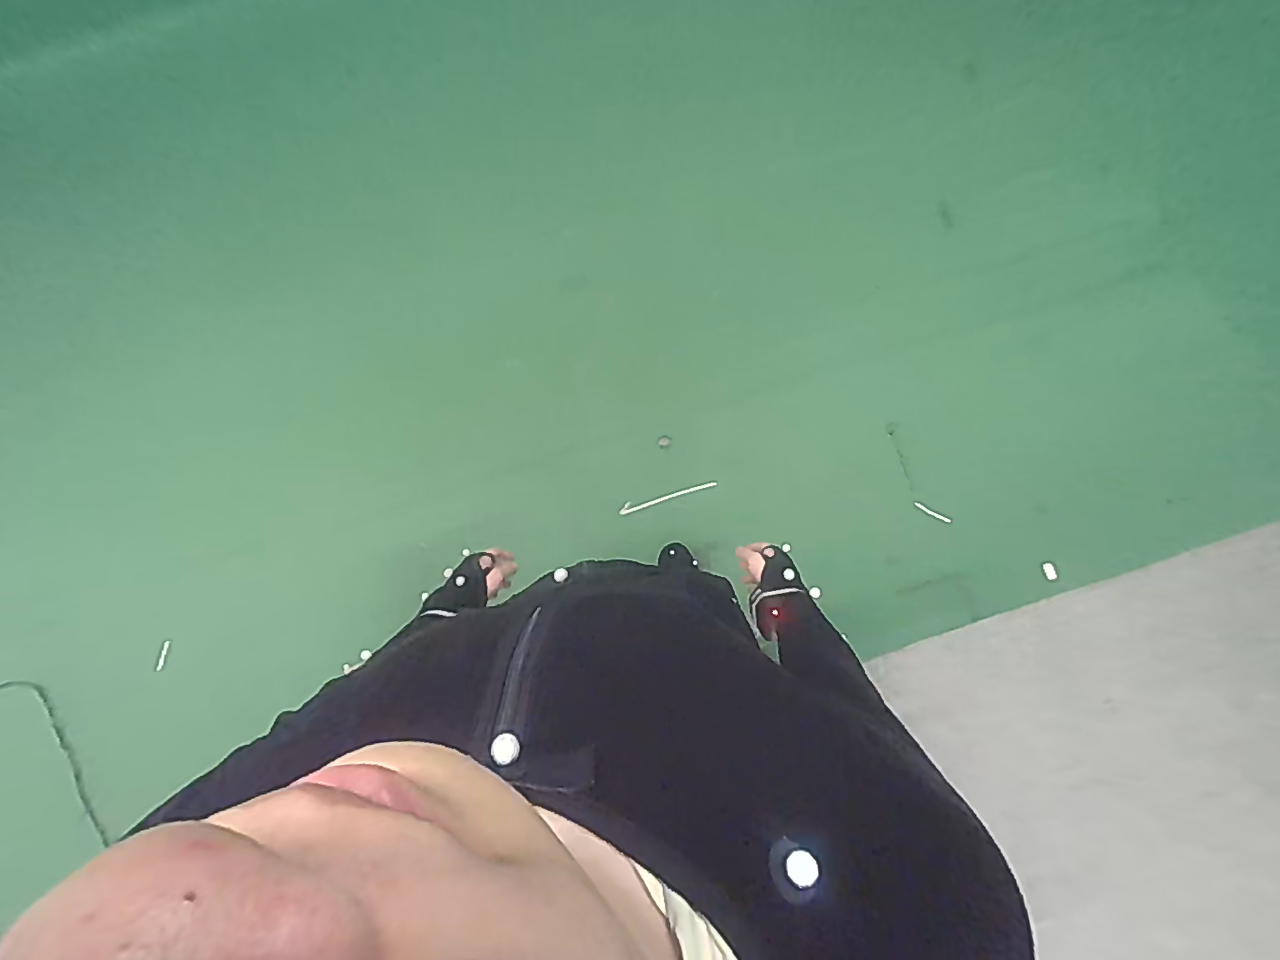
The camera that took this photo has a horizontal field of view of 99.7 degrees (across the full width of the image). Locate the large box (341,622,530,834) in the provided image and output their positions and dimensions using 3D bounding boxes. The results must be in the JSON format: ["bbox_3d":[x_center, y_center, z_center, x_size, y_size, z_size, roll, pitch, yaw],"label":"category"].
[{"bbox_3d":[-0.529,0.631,1.455,0.320,0.320,0.408,-19,78,-3],"label":"large box"}]
